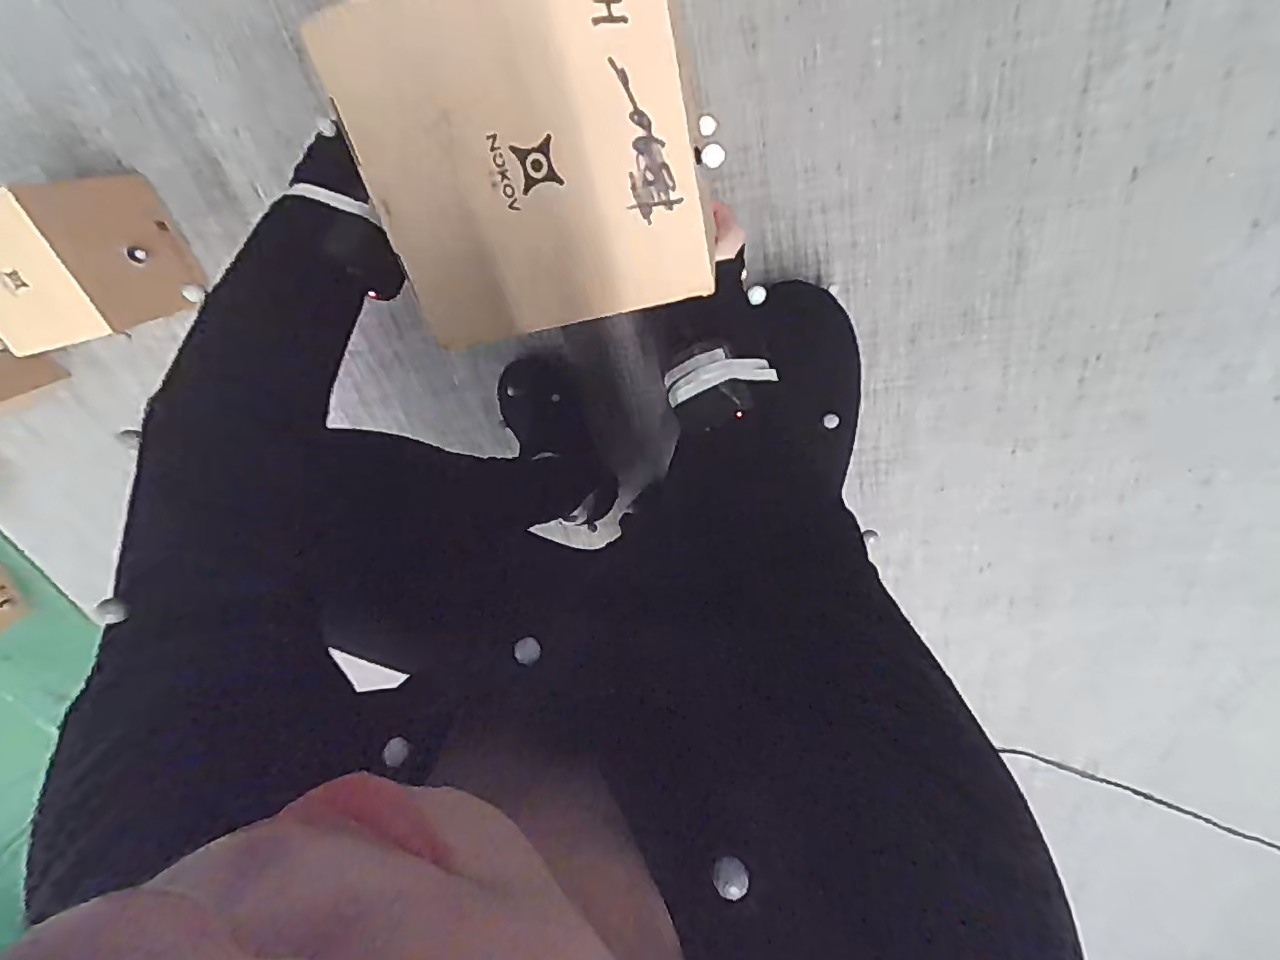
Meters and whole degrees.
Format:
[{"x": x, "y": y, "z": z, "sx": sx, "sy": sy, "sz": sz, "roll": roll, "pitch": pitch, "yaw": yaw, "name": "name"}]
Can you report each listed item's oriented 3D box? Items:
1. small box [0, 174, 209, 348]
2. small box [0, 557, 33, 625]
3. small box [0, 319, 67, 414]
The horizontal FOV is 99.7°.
[{"x": -0.724, "y": -0.291, "z": 0.710, "sx": 0.179, "sy": 0.176, "sz": 0.168, "roll": -6, "pitch": 121, "yaw": 14, "name": "small box"}, {"x": -1.574, "y": 0.267, "z": 1.227, "sx": 0.179, "sy": 0.176, "sz": 0.168, "roll": 14, "pitch": 124, "yaw": 1, "name": "small box"}, {"x": -1.082, "y": -0.181, "z": 0.845, "sx": 0.179, "sy": 0.176, "sz": 0.168, "roll": -18, "pitch": 118, "yaw": 20, "name": "small box"}]
